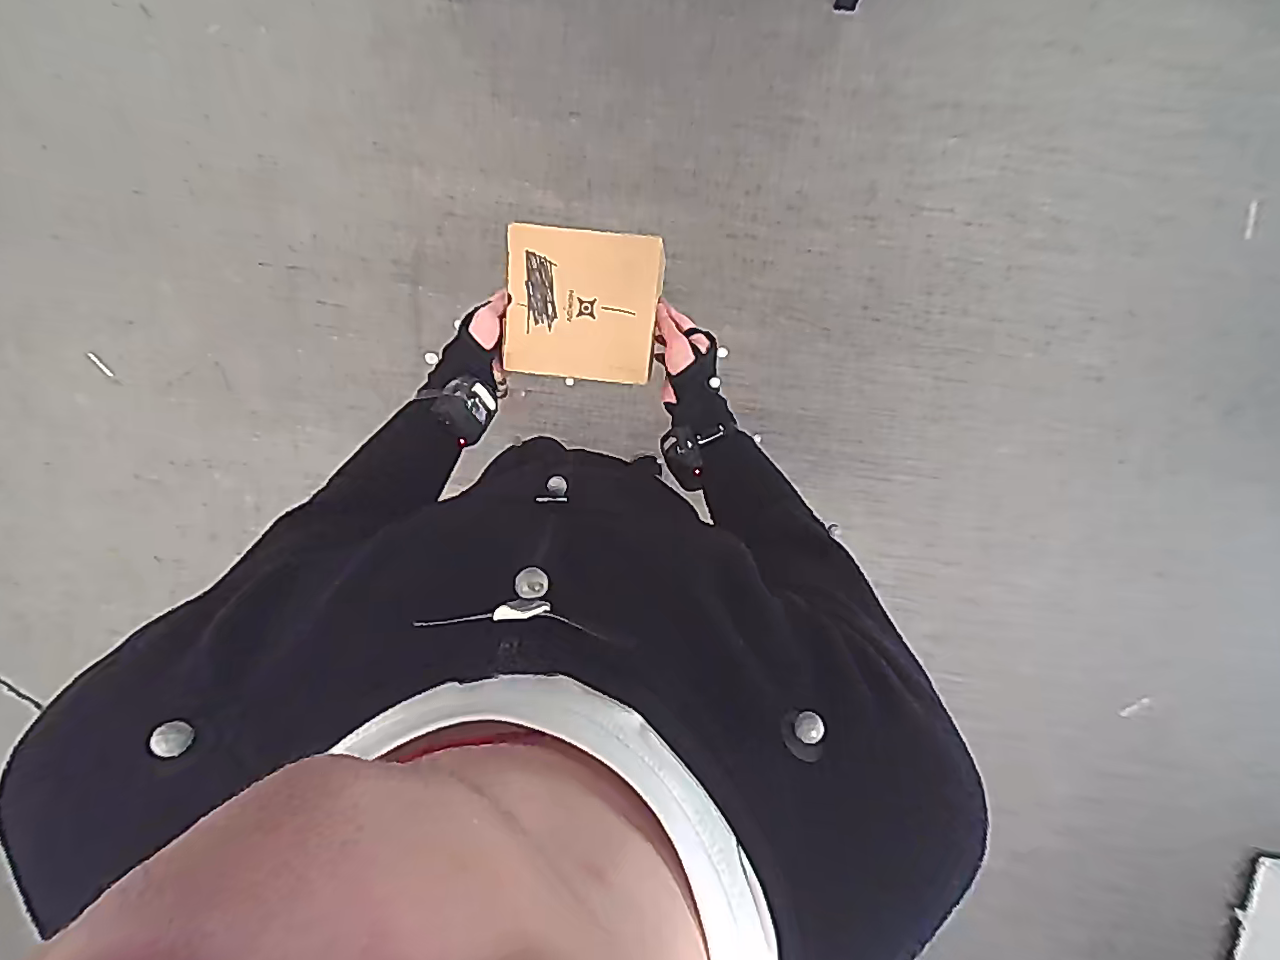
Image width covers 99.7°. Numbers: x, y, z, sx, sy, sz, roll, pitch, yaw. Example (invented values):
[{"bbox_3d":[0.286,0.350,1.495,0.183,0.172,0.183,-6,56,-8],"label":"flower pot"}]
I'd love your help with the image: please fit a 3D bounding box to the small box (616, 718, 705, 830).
[{"bbox_3d":[0.049,0.747,1.394,0.179,0.176,0.168,20,97,-3],"label":"small box"}]
